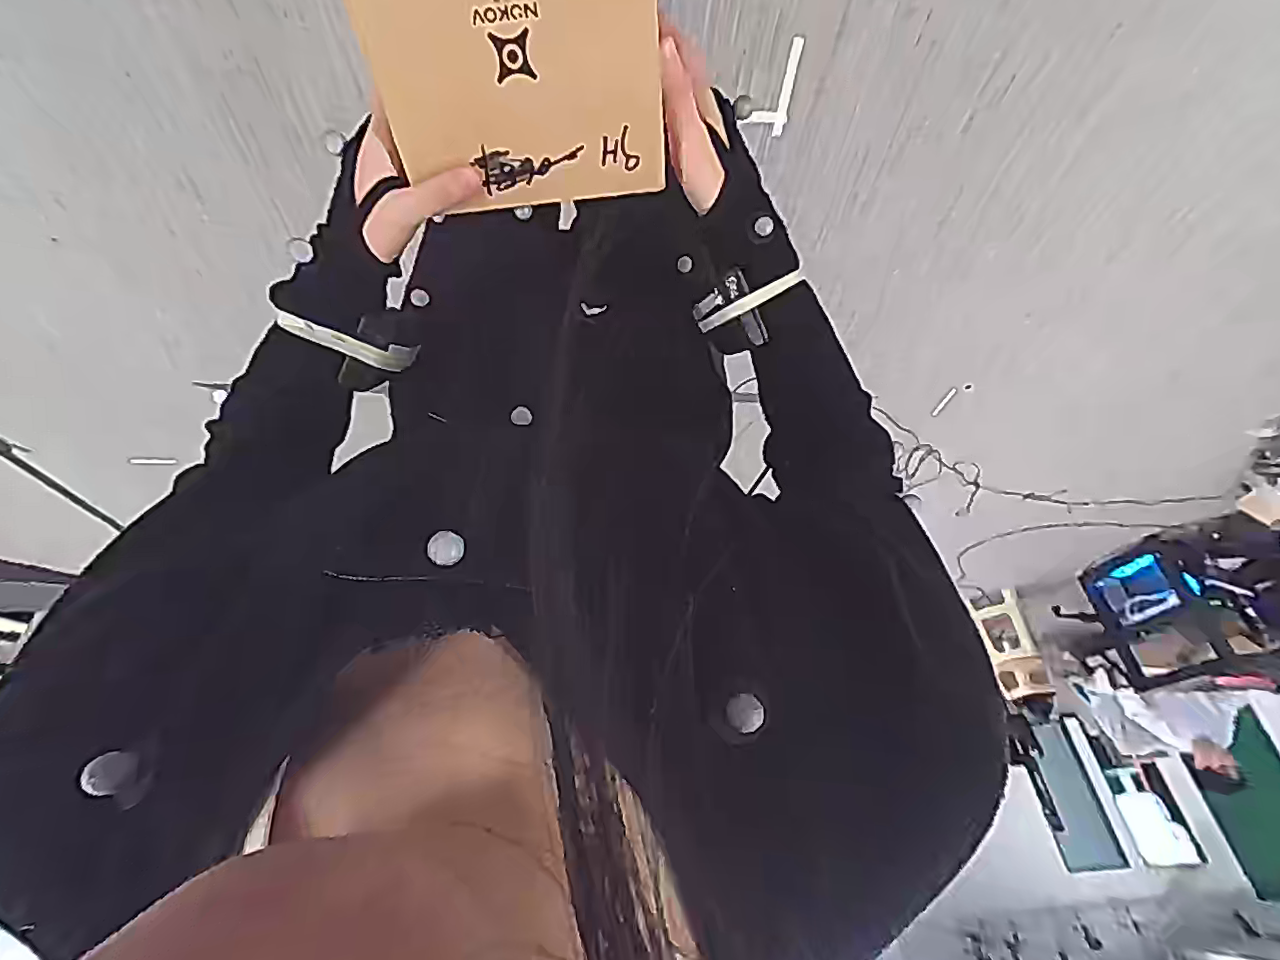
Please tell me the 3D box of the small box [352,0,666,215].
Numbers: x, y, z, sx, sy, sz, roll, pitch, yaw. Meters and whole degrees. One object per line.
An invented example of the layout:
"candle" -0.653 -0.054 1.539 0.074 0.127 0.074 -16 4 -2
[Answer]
"small box" -0.074 -0.299 0.357 0.168 0.176 0.179 -5 133 2
